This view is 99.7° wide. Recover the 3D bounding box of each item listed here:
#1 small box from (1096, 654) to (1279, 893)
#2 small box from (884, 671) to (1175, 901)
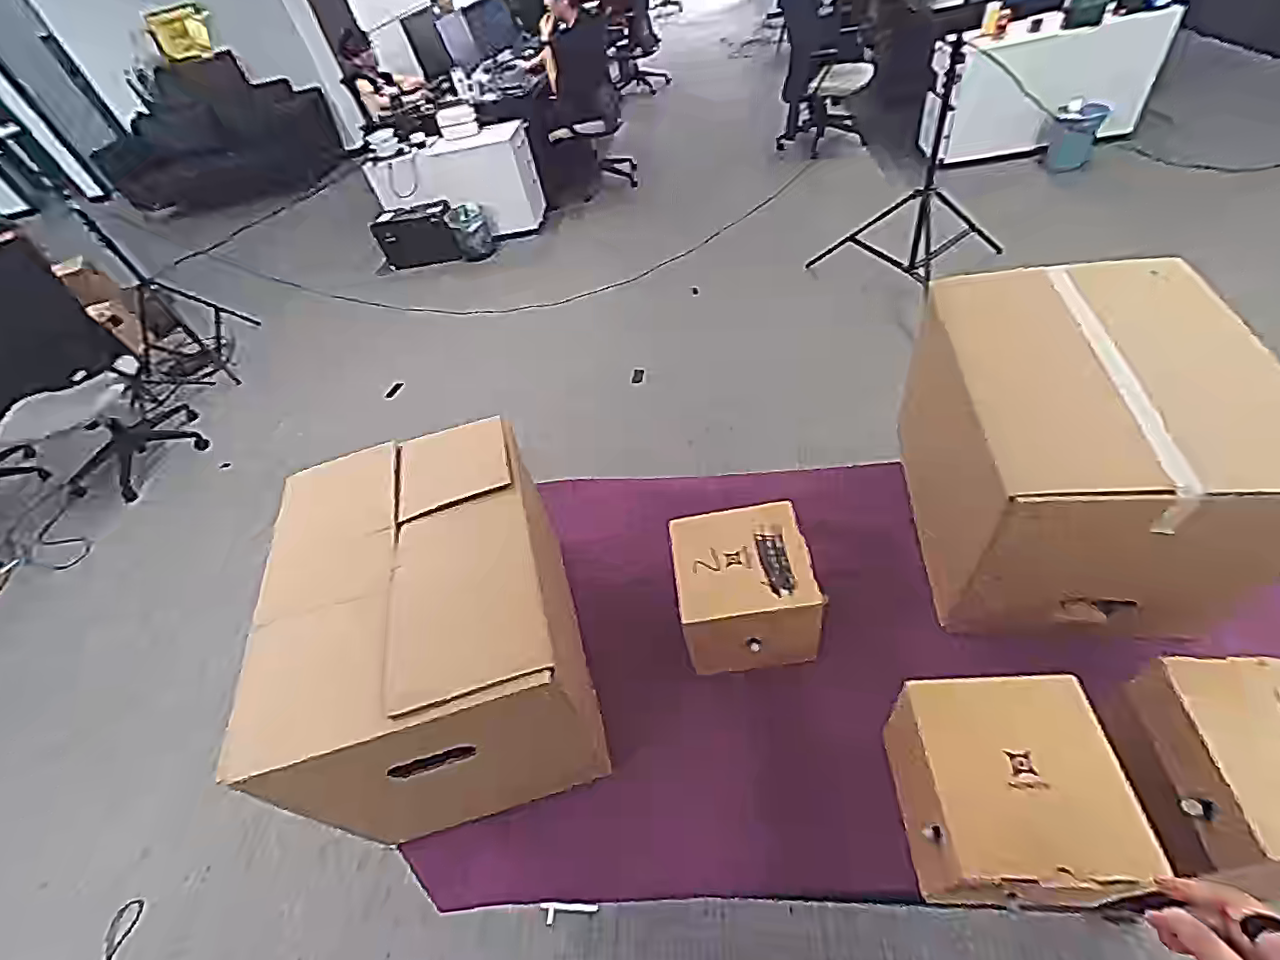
[{"bbox_3d":[0.603,0.289,0.527,0.168,0.176,0.179,-3,46,12],"label":"small box"},{"bbox_3d":[0.369,0.318,0.563,0.168,0.176,0.179,-6,48,9],"label":"small box"}]
